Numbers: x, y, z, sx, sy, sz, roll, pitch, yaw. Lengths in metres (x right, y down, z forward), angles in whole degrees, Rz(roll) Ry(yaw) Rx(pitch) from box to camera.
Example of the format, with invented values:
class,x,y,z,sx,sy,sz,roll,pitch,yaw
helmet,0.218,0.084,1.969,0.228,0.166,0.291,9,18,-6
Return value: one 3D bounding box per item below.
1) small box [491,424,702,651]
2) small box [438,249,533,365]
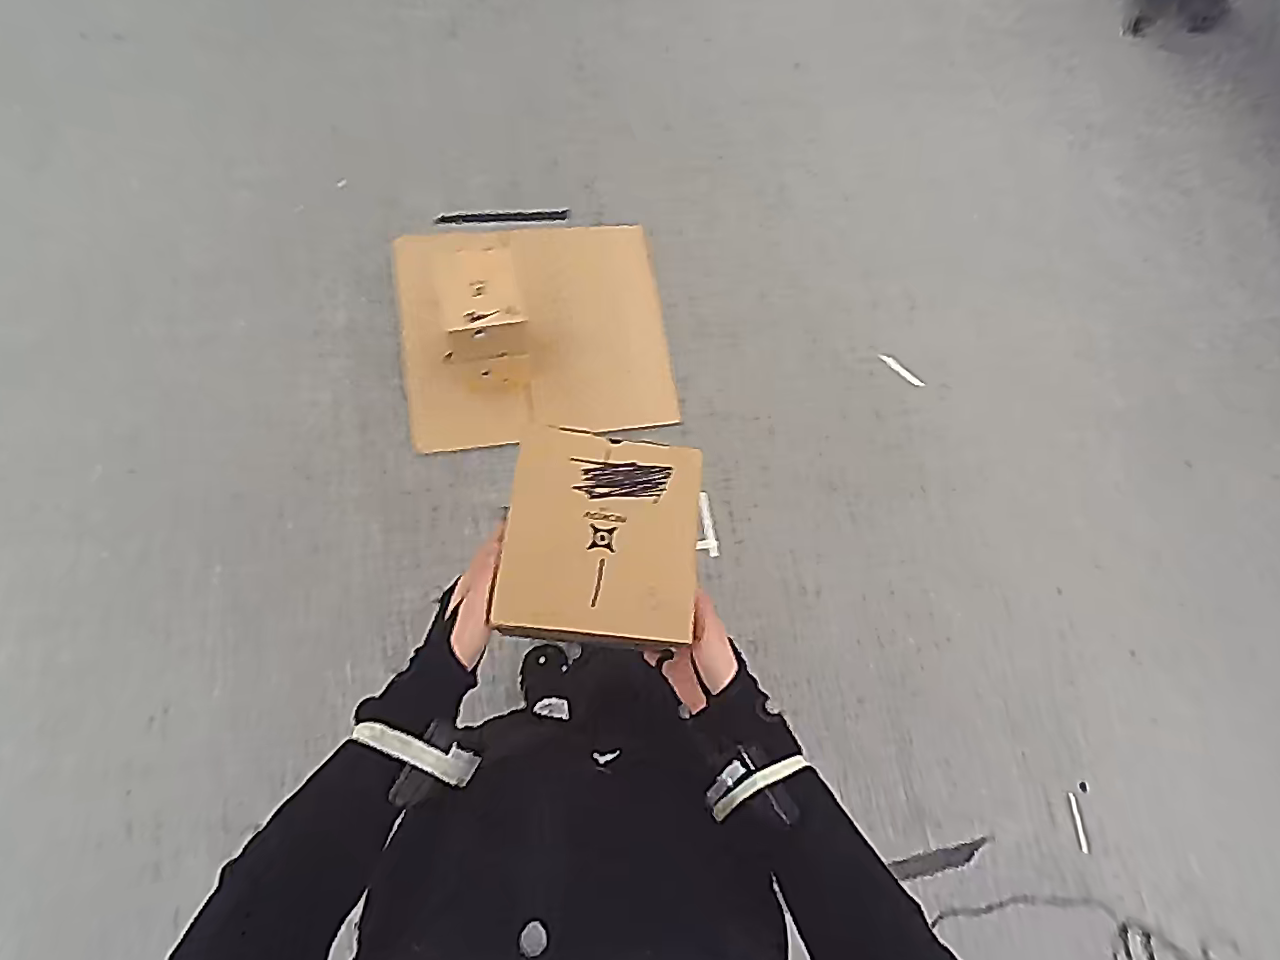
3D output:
class,x,y,z,sx,sy,sz,roll,pitch,yaw
small box,-0.045,0.068,0.532,0.168,0.176,0.179,8,70,-8
small box,-0.333,-0.375,1.187,0.168,0.176,0.179,-11,80,-12
